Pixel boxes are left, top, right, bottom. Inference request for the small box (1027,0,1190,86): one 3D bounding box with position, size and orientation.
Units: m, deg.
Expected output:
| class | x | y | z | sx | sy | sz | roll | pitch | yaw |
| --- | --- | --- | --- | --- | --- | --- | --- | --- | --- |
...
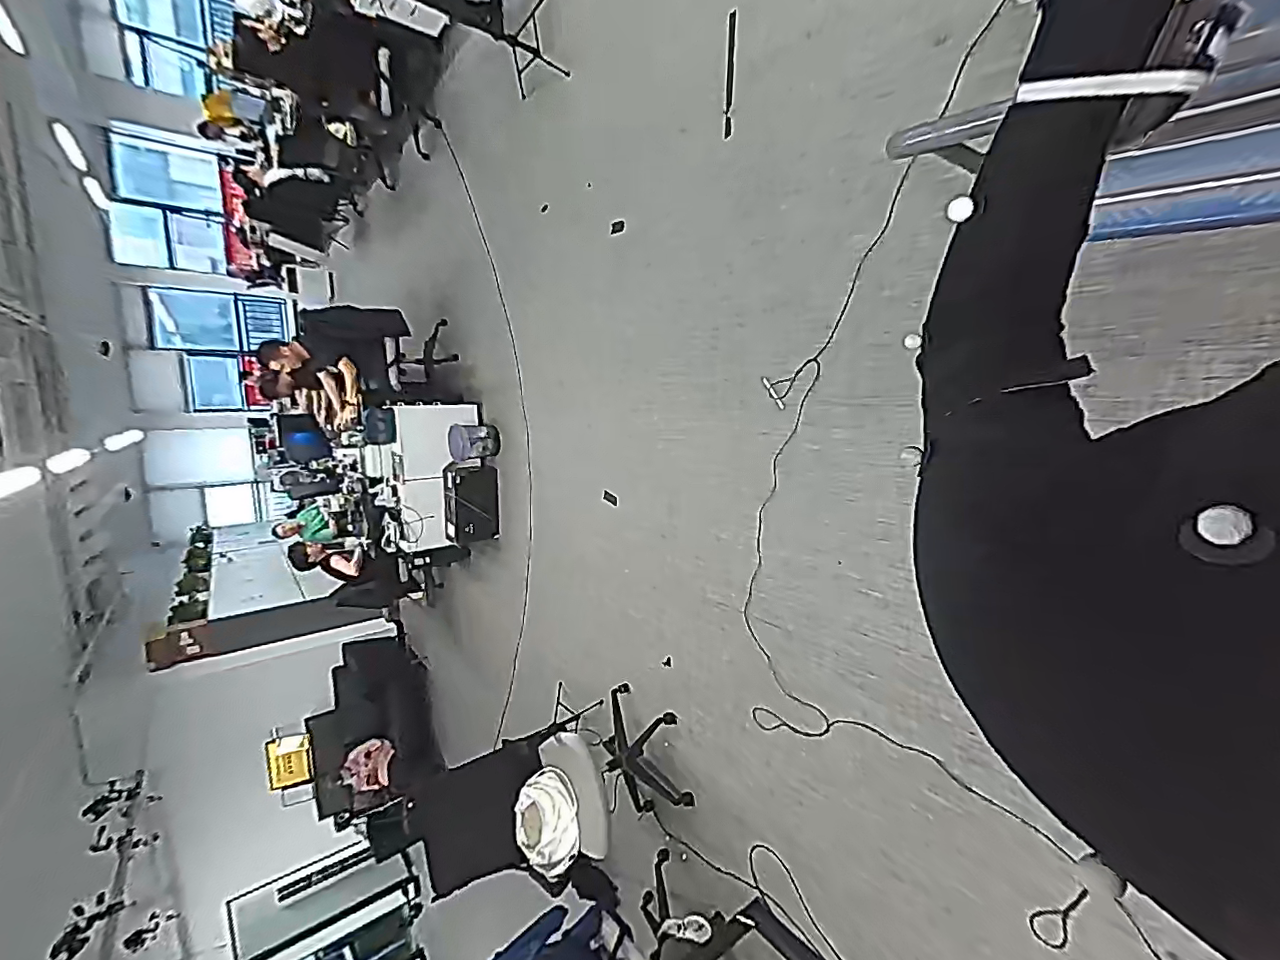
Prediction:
| class | x | y | z | sx | sy | sz | roll | pitch | yaw |
| --- | --- | --- | --- | --- | --- | --- | --- | --- | --- |
| small box | 0.808 | -0.814 | 0.925 | 0.179 | 0.176 | 0.168 | 22 | 112 | 47 |
